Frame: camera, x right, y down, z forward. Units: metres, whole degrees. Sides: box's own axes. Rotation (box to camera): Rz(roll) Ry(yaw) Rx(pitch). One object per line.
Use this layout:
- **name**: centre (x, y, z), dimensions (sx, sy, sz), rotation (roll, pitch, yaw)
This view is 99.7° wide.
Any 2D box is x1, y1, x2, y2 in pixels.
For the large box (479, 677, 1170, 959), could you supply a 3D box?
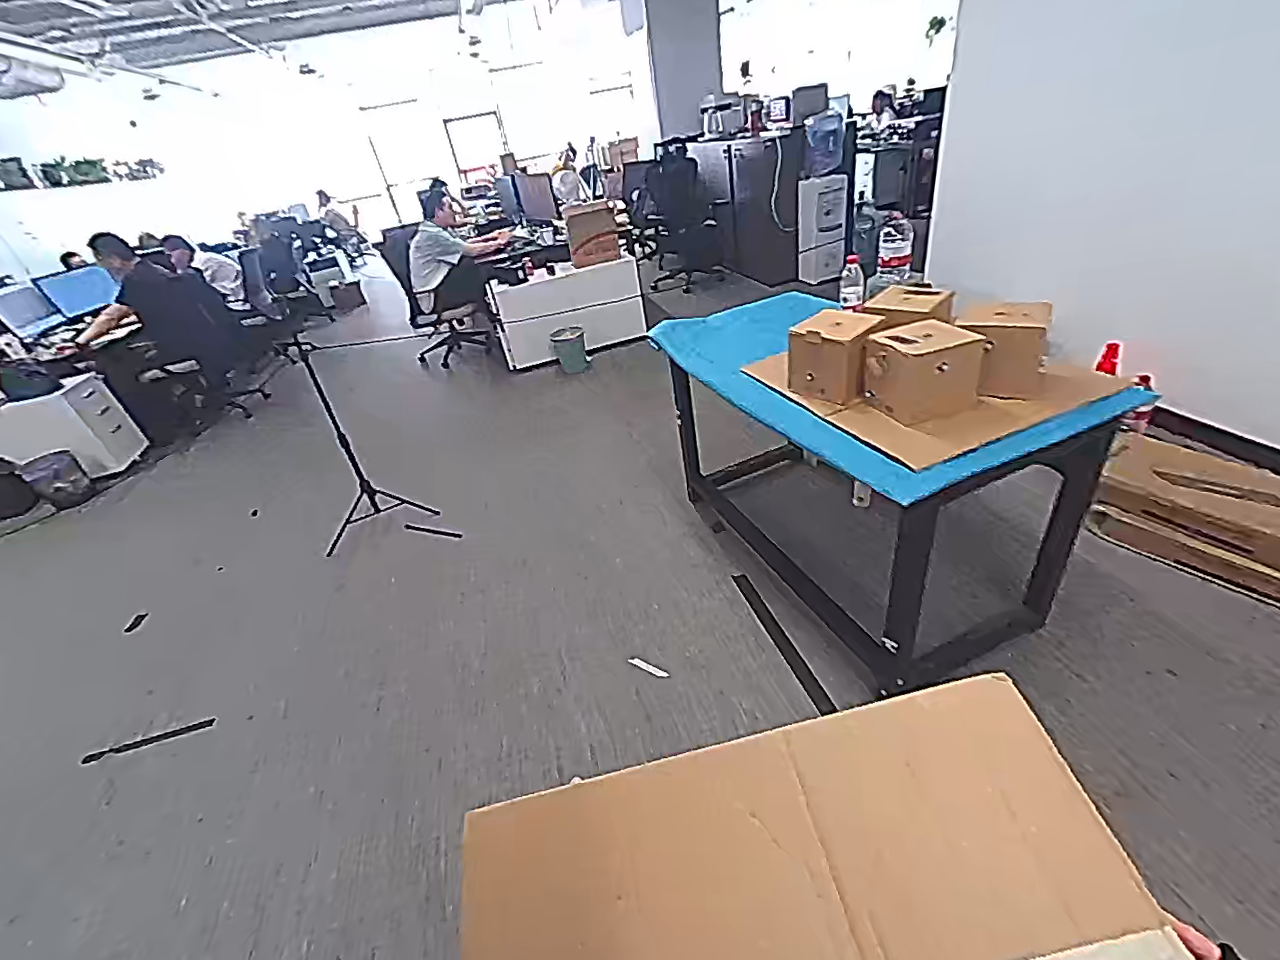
- **large box**: centre (0.127, 0.405, 0.419), dimensions (0.408, 0.320, 0.320), rotation (-16, 51, 1)
